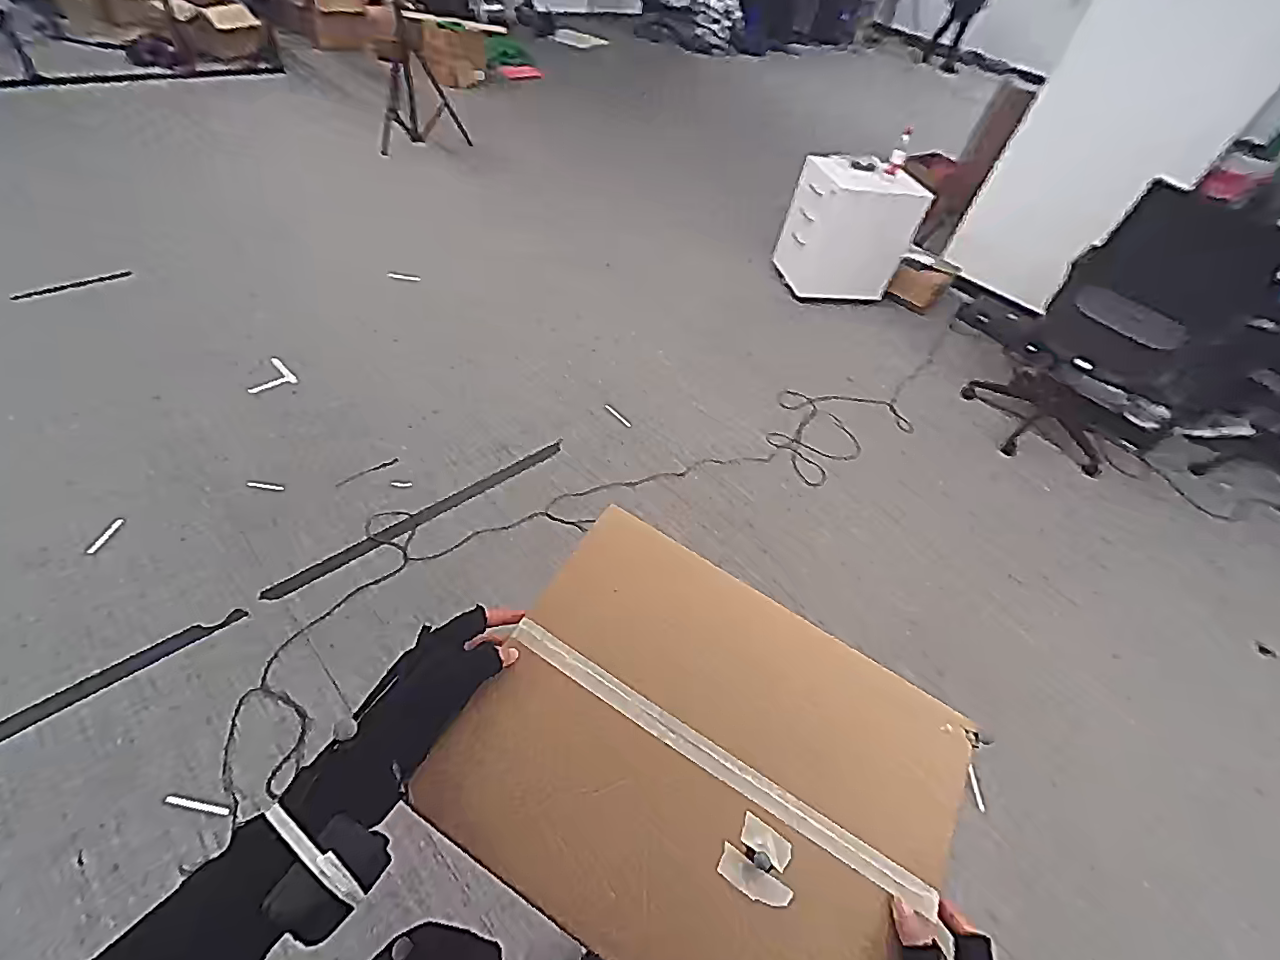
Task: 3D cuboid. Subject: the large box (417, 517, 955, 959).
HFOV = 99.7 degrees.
[{"bbox_3d":[0.041,0.314,0.607,0.408,0.320,0.320,31,62,9],"label":"large box"}]
